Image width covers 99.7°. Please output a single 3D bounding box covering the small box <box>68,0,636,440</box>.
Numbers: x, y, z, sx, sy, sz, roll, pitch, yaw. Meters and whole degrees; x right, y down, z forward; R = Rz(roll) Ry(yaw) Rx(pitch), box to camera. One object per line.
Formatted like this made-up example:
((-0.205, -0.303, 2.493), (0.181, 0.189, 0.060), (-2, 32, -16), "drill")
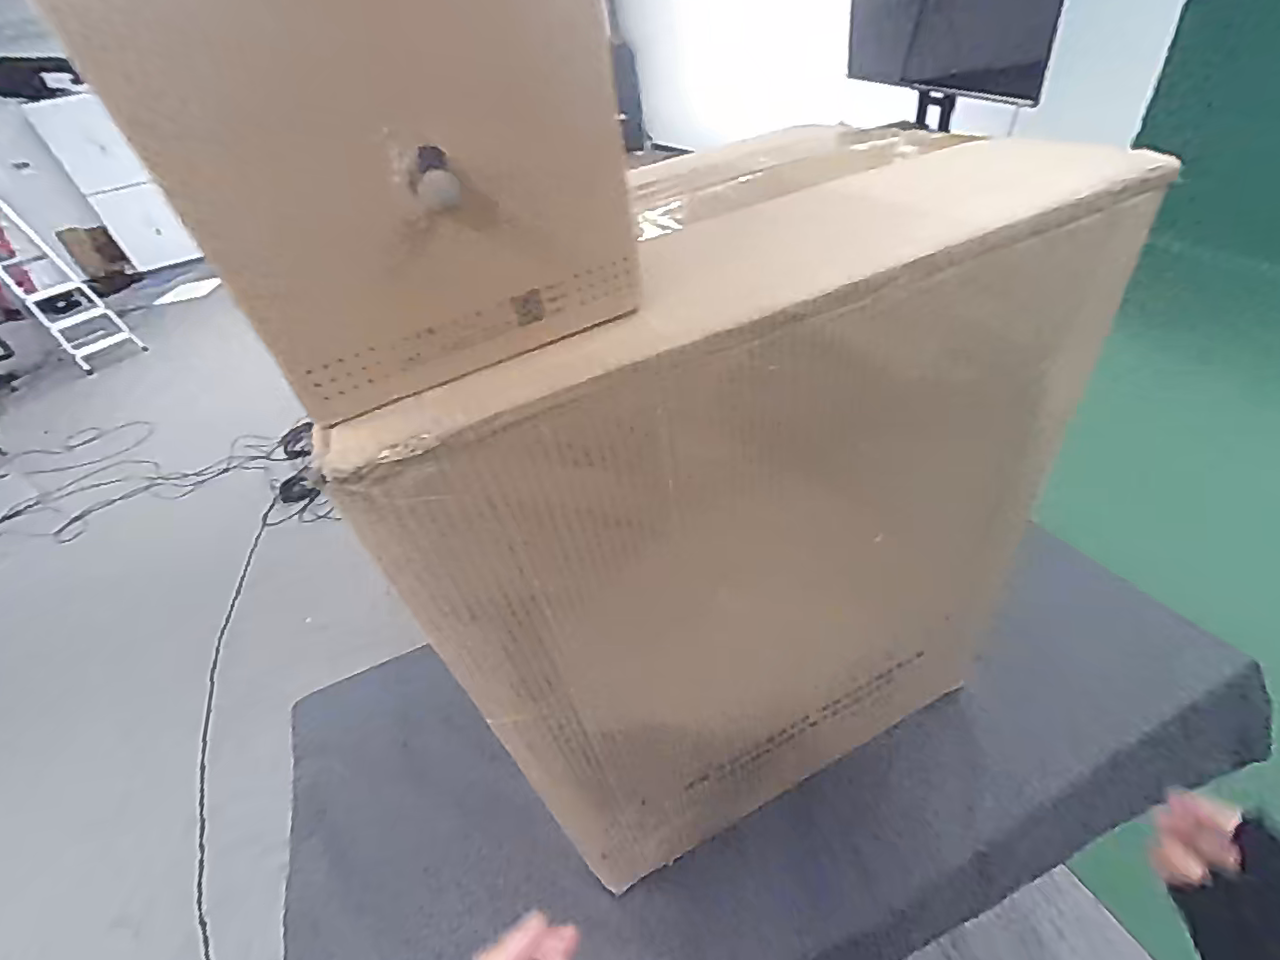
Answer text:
((-0.120, -0.143, 0.284), (0.168, 0.176, 0.179), (-28, 44, -16), "small box")
